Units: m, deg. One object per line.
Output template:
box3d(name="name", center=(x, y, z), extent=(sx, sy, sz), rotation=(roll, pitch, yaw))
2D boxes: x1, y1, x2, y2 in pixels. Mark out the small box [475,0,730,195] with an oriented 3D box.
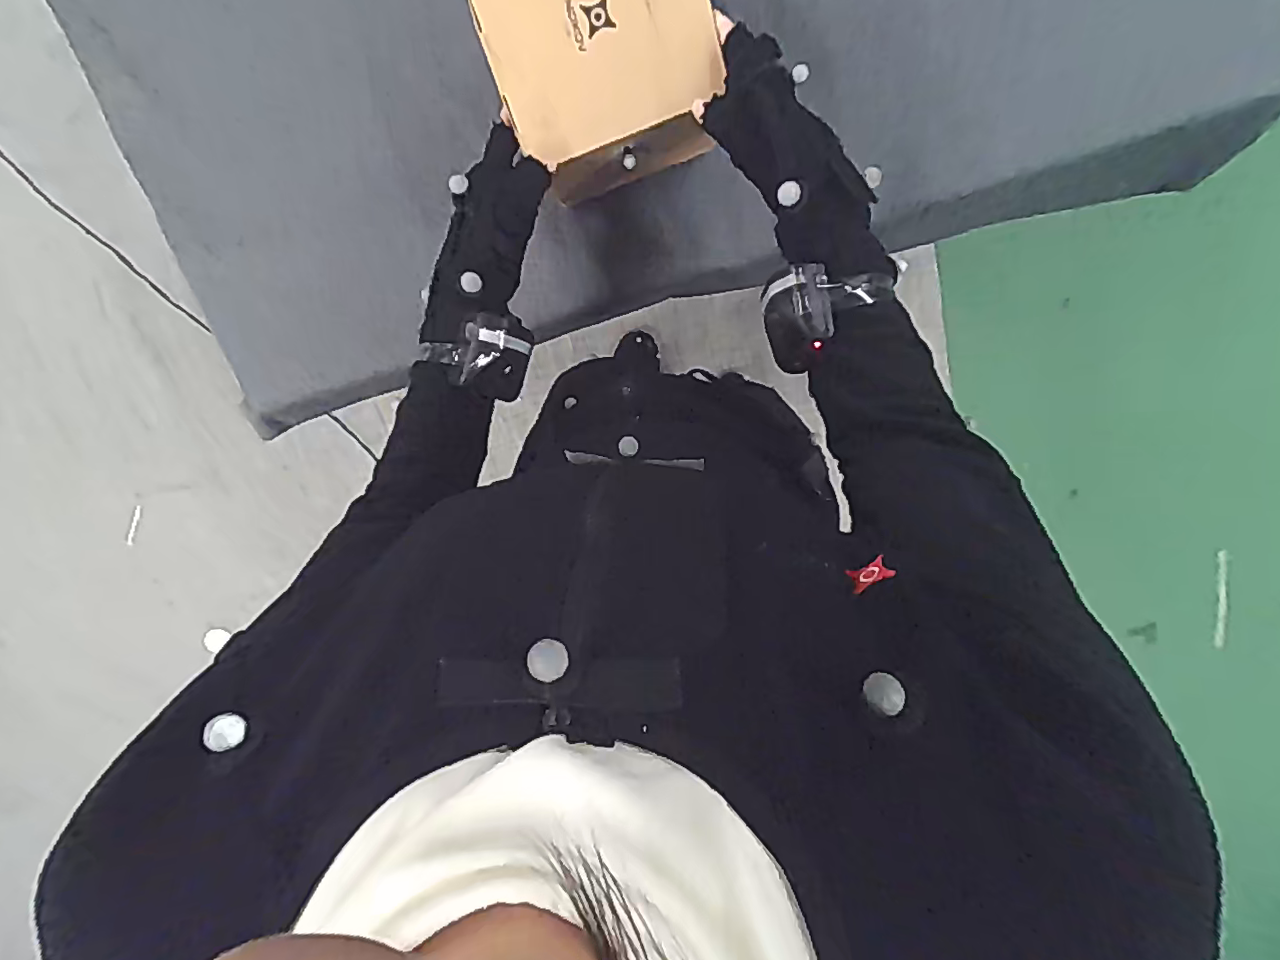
box3d(name="small box", center=(-0.031, -0.388, 0.499), extent=(0.179, 0.176, 0.168), rotation=(-19, 107, 7))
